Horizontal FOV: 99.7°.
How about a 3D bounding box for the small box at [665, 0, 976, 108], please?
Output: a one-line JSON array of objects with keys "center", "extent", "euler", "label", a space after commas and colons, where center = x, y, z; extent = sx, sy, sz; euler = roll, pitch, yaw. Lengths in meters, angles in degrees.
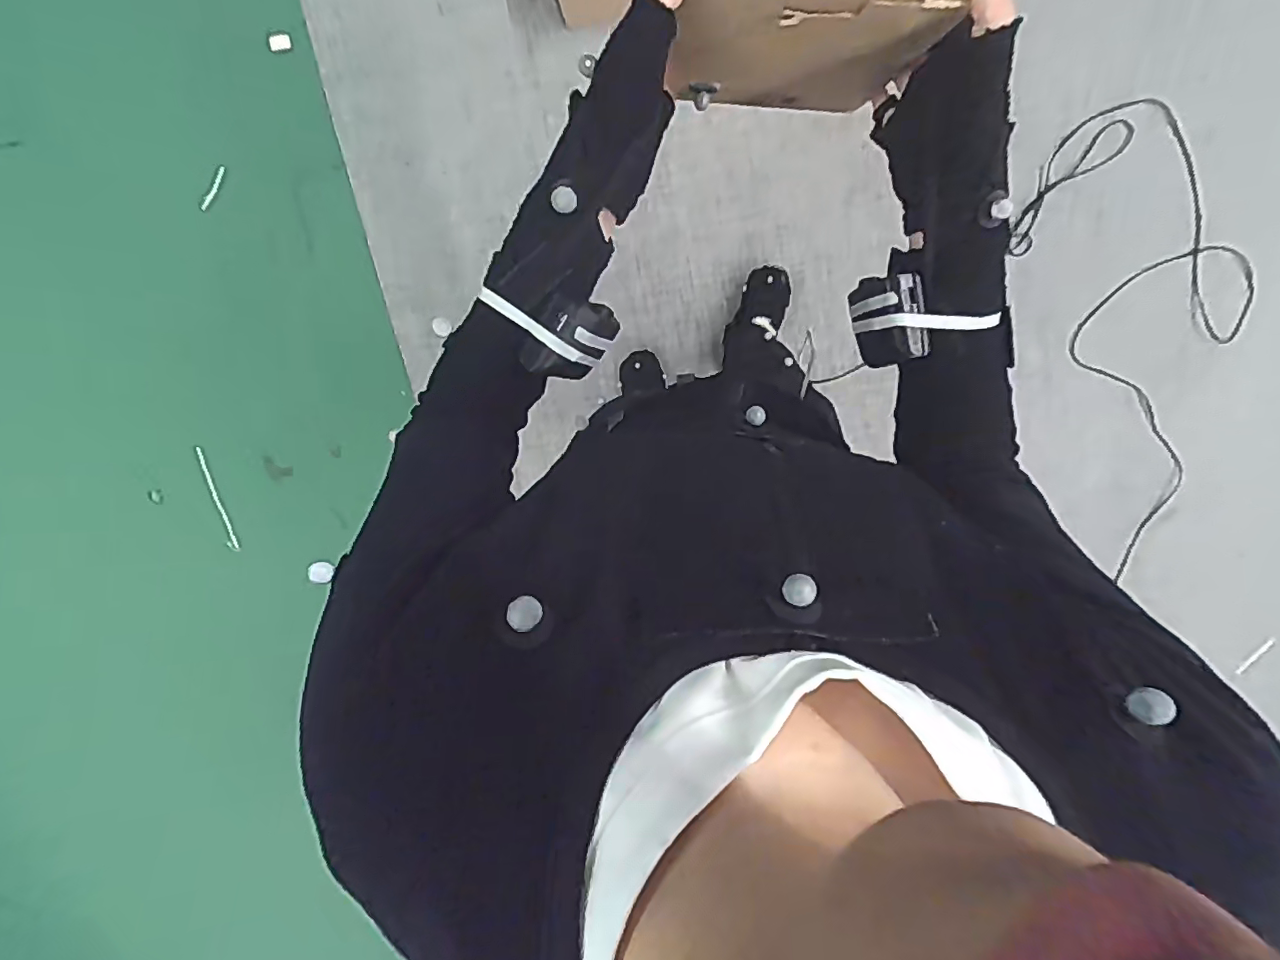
[{"center": [0.107, -0.366, 0.343], "extent": [0.168, 0.176, 0.179], "euler": [2, 106, -3], "label": "small box"}]
